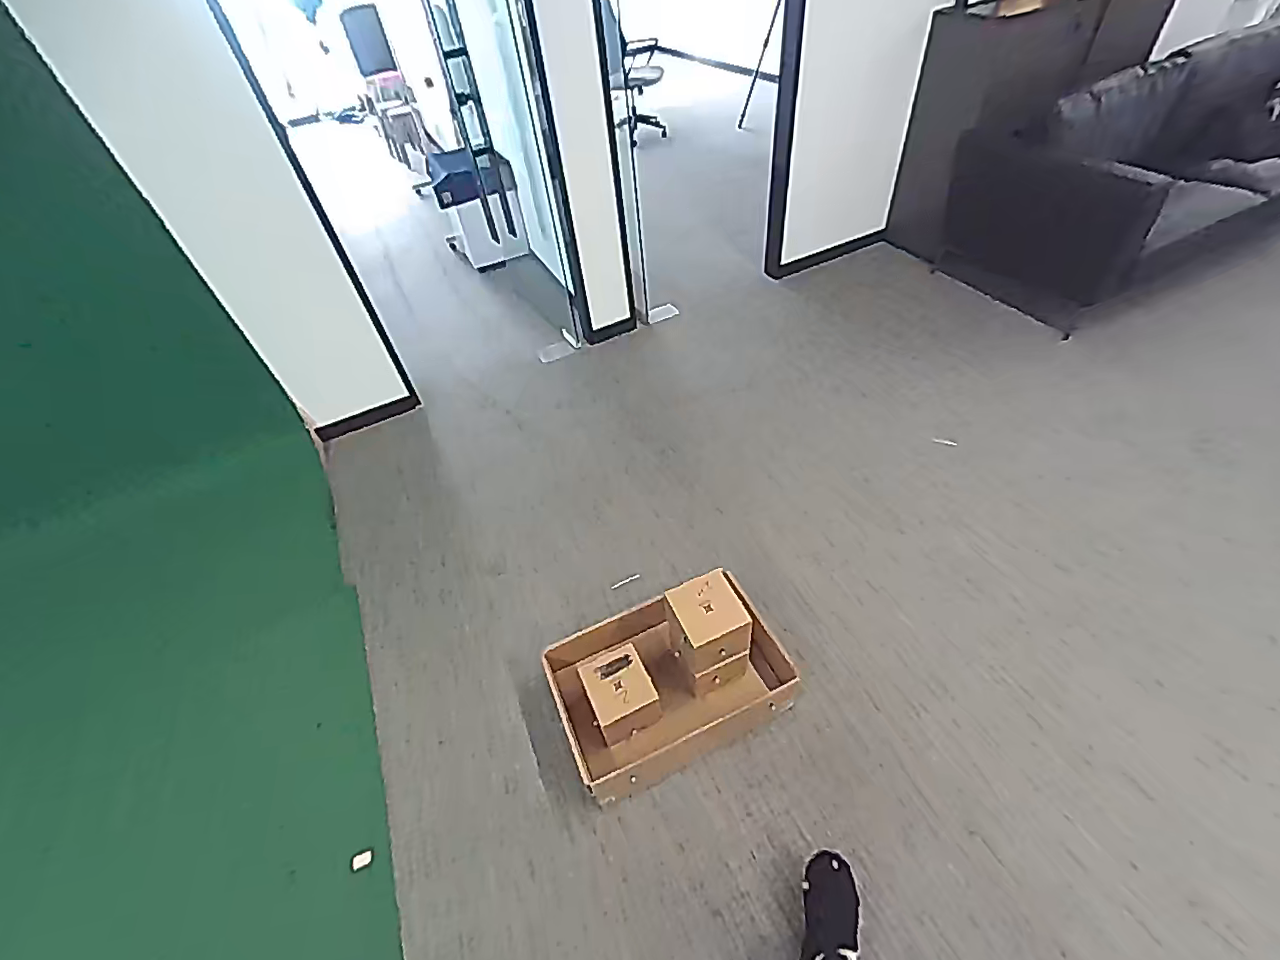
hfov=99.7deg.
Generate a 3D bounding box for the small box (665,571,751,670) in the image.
[{"bbox_3d":[0.180,0.380,1.436,0.168,0.176,0.179,-21,48,-11],"label":"small box"}]

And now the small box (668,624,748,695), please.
[{"bbox_3d":[0.195,0.493,1.556,0.168,0.176,0.179,-21,48,-12],"label":"small box"}]
